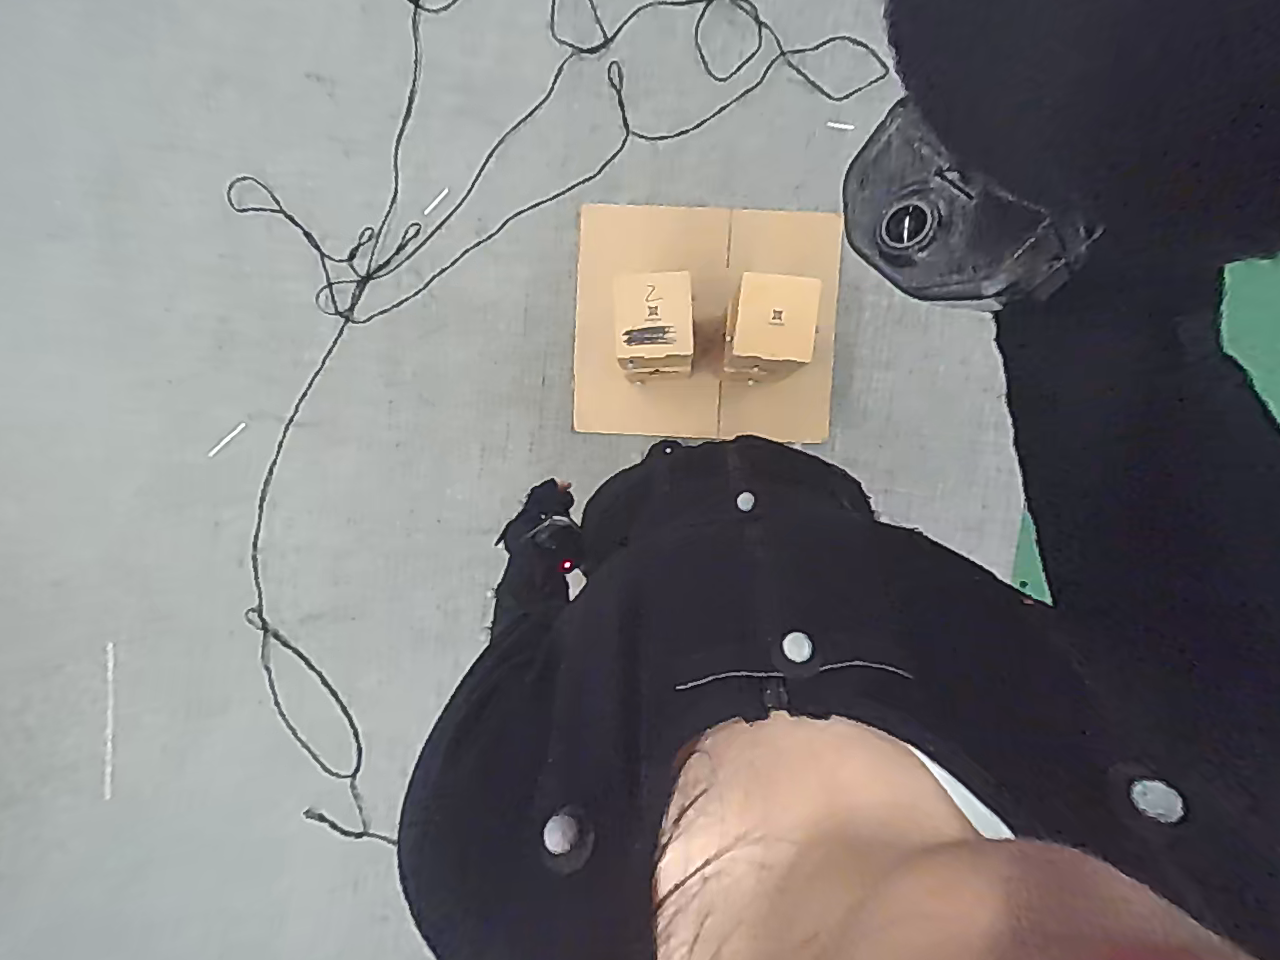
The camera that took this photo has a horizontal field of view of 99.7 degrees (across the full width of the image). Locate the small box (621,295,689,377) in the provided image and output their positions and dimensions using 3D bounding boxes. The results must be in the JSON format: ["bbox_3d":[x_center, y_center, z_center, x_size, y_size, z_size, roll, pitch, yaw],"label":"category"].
[{"bbox_3d":[0.040,-0.356,1.367,0.168,0.176,0.179,-1,93,2],"label":"small box"}]

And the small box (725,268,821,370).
[{"bbox_3d":[0.286,-0.350,1.198,0.168,0.176,0.179,6,95,2],"label":"small box"}]

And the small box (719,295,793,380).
[{"bbox_3d":[0.291,-0.354,1.361,0.168,0.176,0.179,3,94,4],"label":"small box"}]
